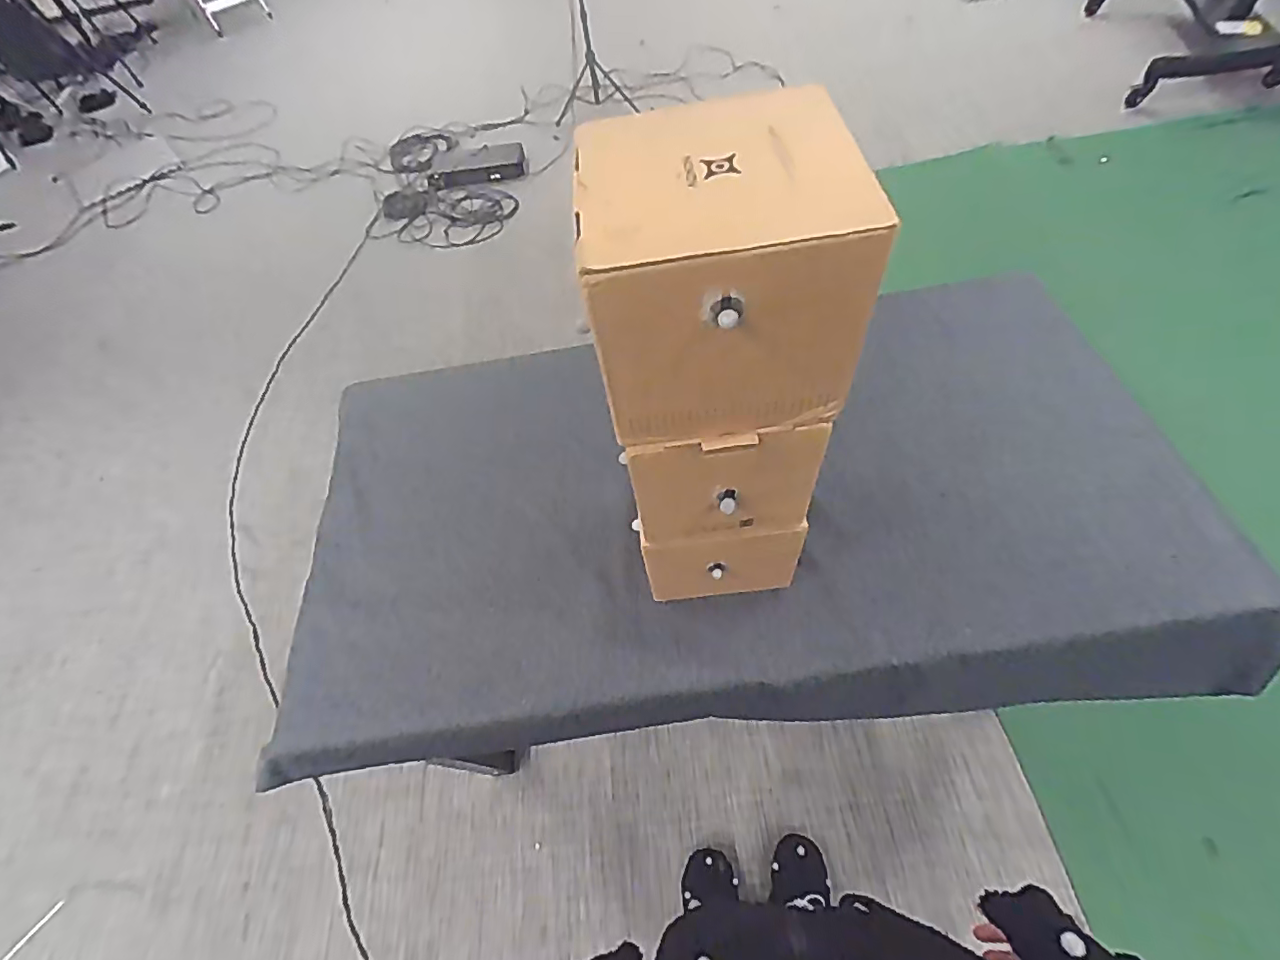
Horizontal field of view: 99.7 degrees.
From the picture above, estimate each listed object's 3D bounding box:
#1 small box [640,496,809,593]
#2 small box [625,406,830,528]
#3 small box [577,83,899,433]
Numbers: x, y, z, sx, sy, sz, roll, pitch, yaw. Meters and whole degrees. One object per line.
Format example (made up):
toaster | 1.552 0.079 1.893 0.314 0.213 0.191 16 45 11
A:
small box | 0.093 0.029 0.670 0.179 0.176 0.168 -8 58 4
small box | 0.073 -0.063 0.537 0.168 0.176 0.179 -8 58 3
small box | 0.057 -0.150 0.400 0.179 0.176 0.168 -7 59 3
